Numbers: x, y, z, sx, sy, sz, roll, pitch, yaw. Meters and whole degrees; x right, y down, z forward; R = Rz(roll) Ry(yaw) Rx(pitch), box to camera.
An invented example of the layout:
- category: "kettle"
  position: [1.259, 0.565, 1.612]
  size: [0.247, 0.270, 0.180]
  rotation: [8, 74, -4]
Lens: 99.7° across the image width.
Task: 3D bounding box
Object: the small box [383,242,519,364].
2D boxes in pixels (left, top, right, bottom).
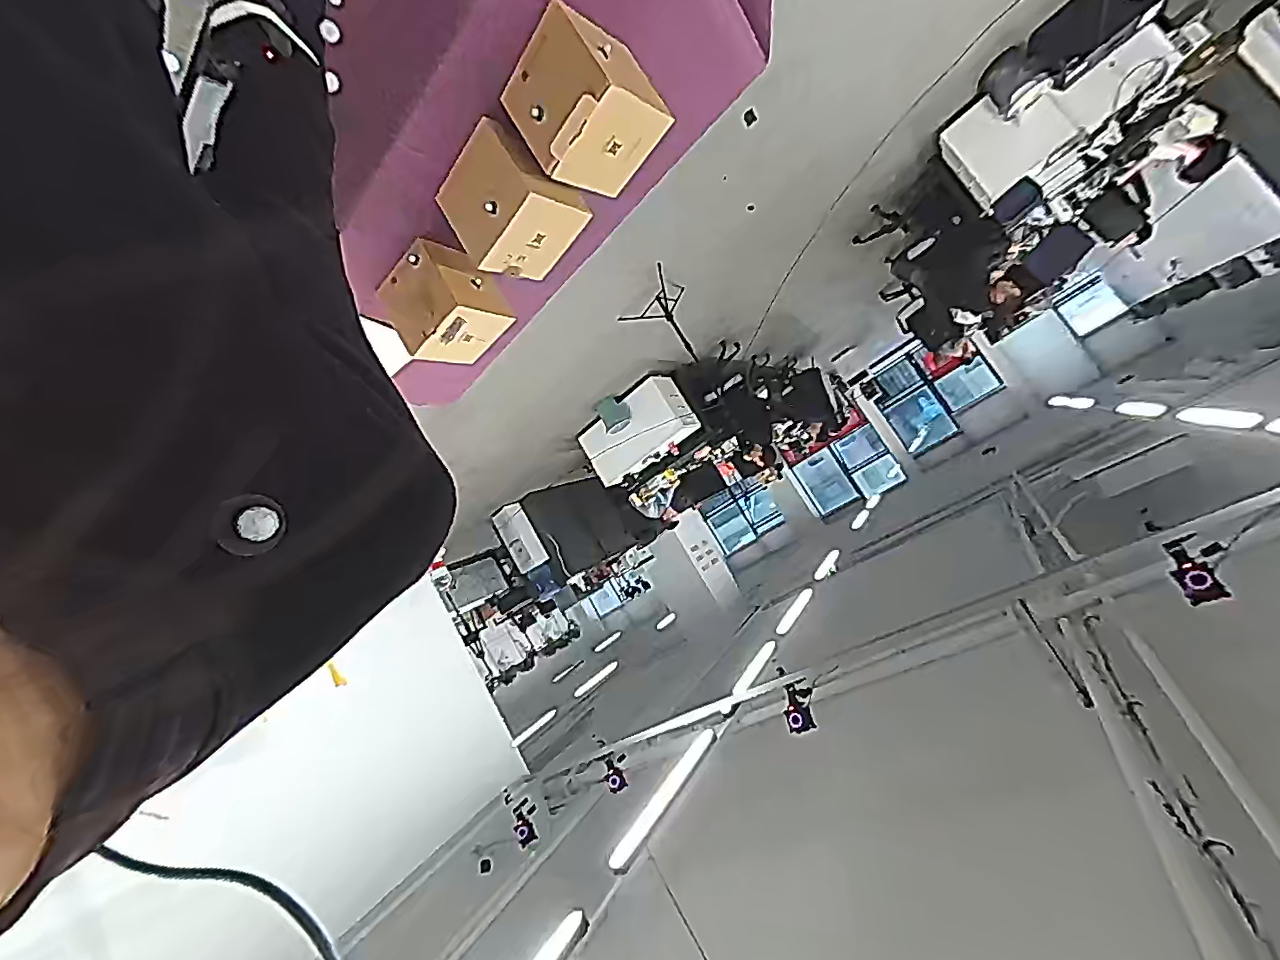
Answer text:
- category: "small box"
  position: [-0.399, -0.367, 1.138]
  size: [0.168, 0.176, 0.179]
  rotation: [-35, 171, 26]

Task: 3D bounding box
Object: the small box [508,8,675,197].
- category: "small box"
  position: [-0.082, -0.605, 0.879]
  size: [0.168, 0.176, 0.179]
  rotation: [-36, 170, 37]
